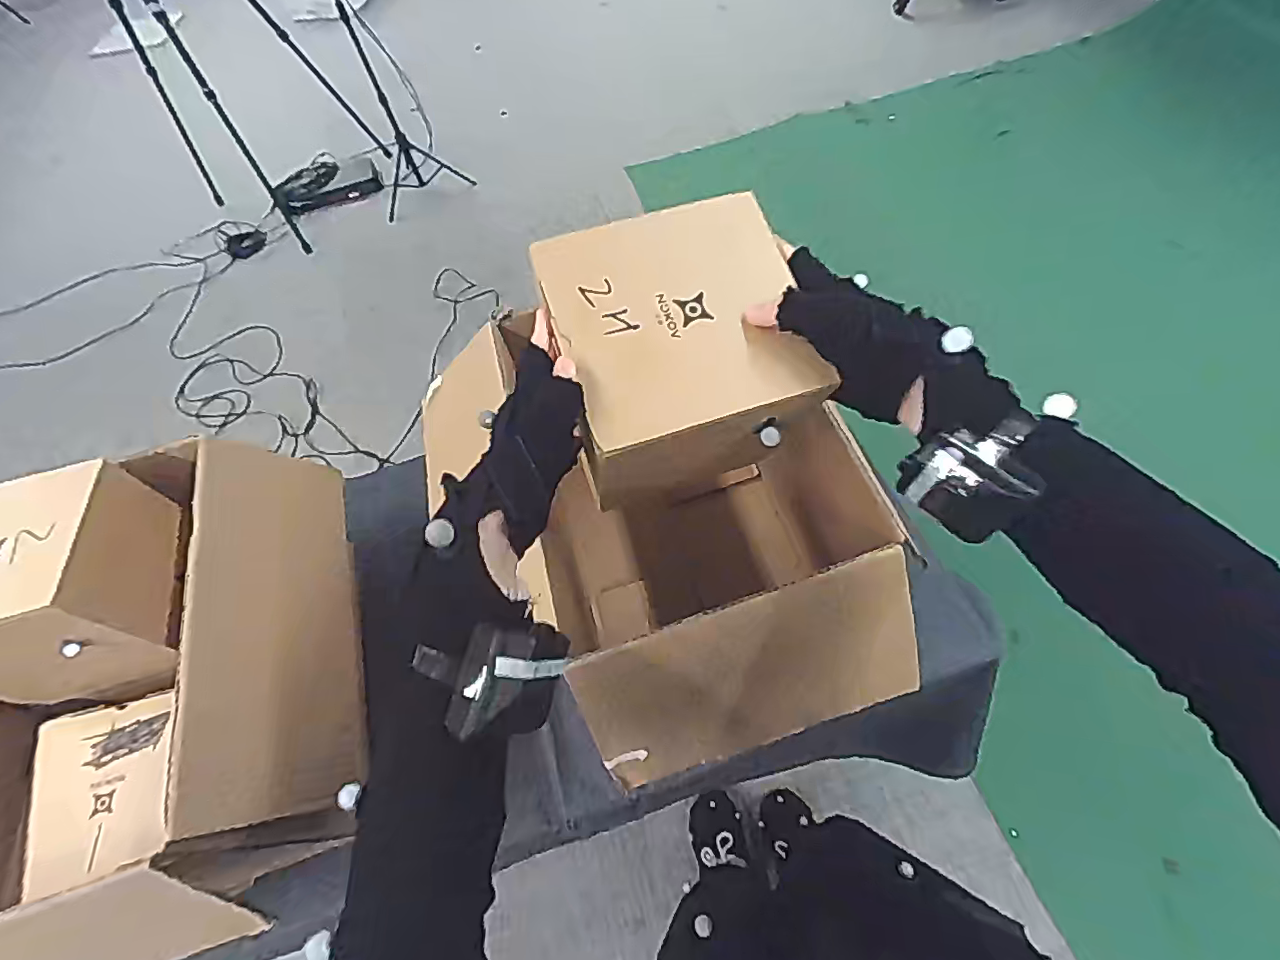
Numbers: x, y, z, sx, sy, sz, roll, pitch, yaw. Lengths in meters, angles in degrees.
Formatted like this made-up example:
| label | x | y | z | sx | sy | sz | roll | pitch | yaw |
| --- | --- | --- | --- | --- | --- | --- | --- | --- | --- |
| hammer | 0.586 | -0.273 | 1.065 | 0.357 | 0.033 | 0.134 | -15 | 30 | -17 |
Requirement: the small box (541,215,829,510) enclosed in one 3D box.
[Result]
| label | x | y | z | sx | sy | sz | roll | pitch | yaw |
| --- | --- | --- | --- | --- | --- | --- | --- | --- | --- |
| small box | 0.024 | -0.088 | 0.466 | 0.179 | 0.176 | 0.168 | -16 | 74 | -9 |
